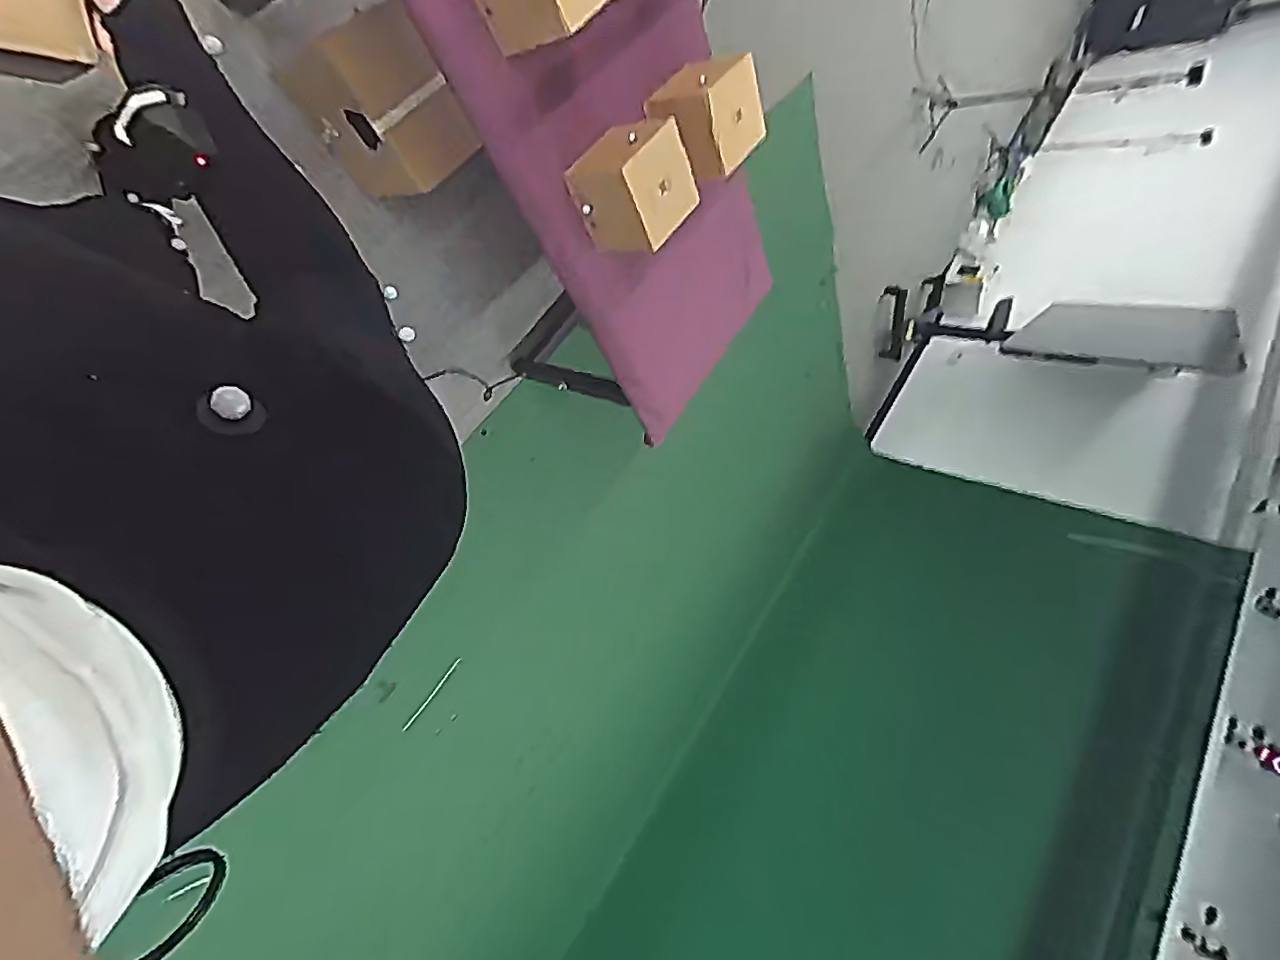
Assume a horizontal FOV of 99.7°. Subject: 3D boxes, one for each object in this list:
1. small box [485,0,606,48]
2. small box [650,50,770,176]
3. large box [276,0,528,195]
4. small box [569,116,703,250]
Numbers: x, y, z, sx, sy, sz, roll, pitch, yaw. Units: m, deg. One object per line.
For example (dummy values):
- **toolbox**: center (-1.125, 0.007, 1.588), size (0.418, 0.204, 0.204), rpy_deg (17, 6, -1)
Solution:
- **small box**: center (-0.144, -0.788, 0.803), size (0.179, 0.176, 0.168), rpy_deg (-56, 141, -18)
- **small box**: center (0.152, -0.783, 1.165), size (0.179, 0.176, 0.168), rpy_deg (-51, 140, -19)
- **large box**: center (-0.560, -0.956, 1.307), size (0.408, 0.320, 0.320), rpy_deg (-55, 141, -19)
- **small box**: center (-0.007, -0.581, 1.068), size (0.179, 0.176, 0.168), rpy_deg (-53, 139, -20)
